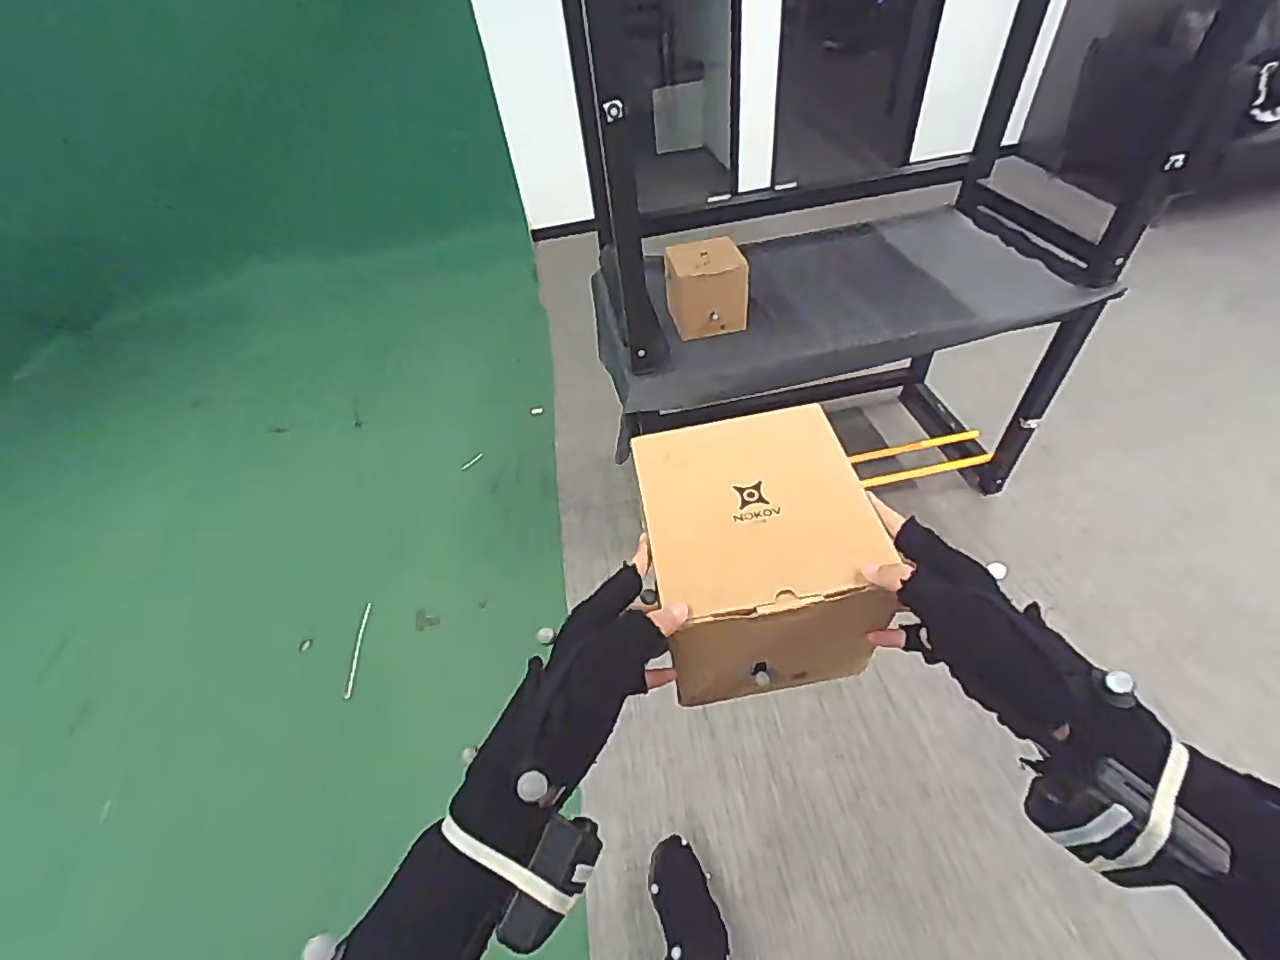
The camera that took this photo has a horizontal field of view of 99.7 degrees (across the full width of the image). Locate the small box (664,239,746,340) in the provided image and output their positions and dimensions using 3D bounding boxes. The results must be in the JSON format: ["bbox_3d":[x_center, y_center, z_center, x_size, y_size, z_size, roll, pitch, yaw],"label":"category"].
[{"bbox_3d":[0.158,-0.472,1.343,0.168,0.176,0.179,-12,46,-2],"label":"small box"}]
